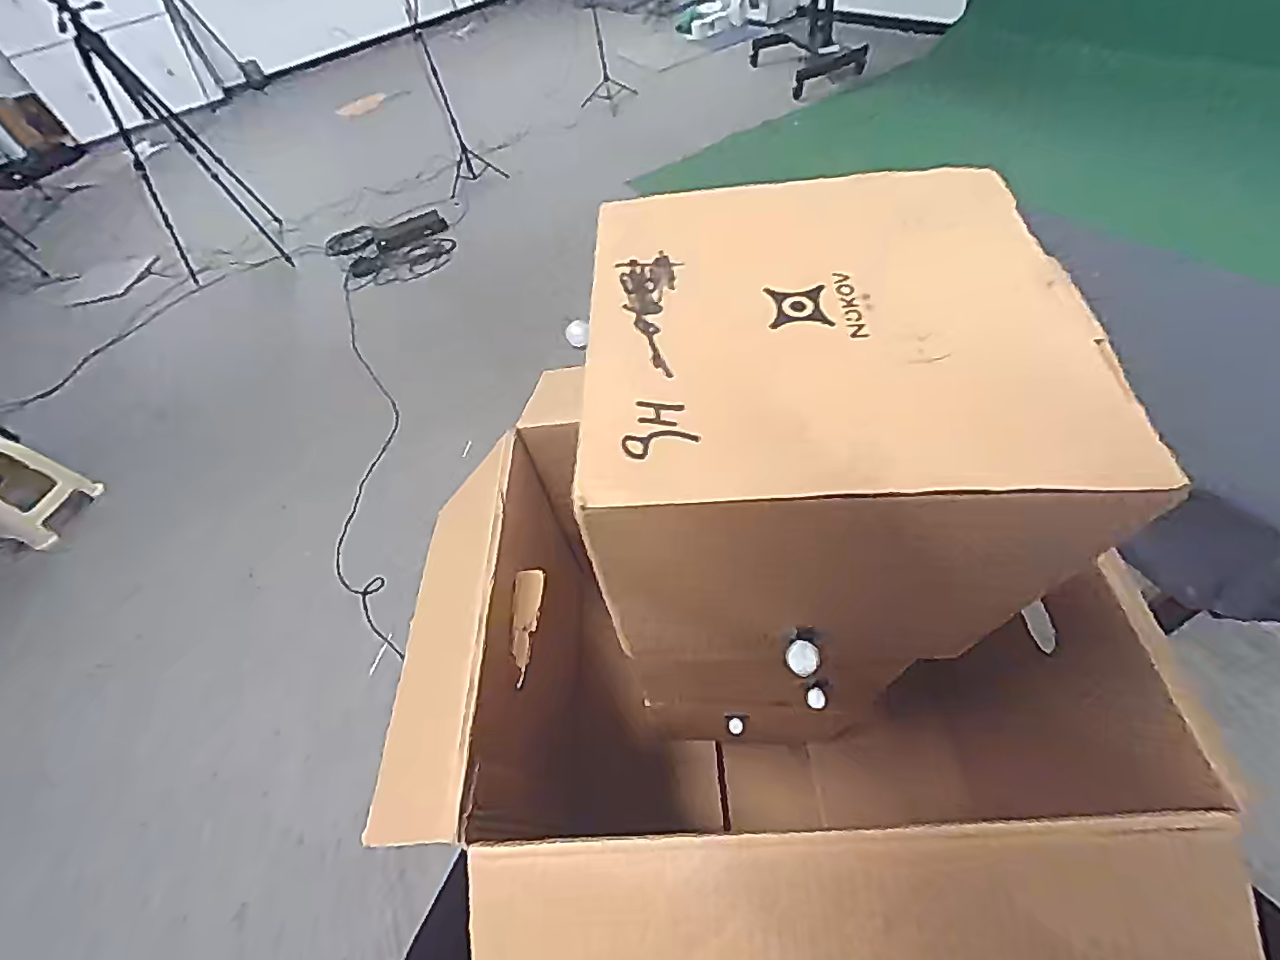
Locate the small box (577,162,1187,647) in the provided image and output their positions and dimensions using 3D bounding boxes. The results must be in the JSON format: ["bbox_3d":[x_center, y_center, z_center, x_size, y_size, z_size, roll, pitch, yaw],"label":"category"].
[{"bbox_3d":[0.074,-0.024,0.264,0.179,0.176,0.168,-1,56,4],"label":"small box"}]
